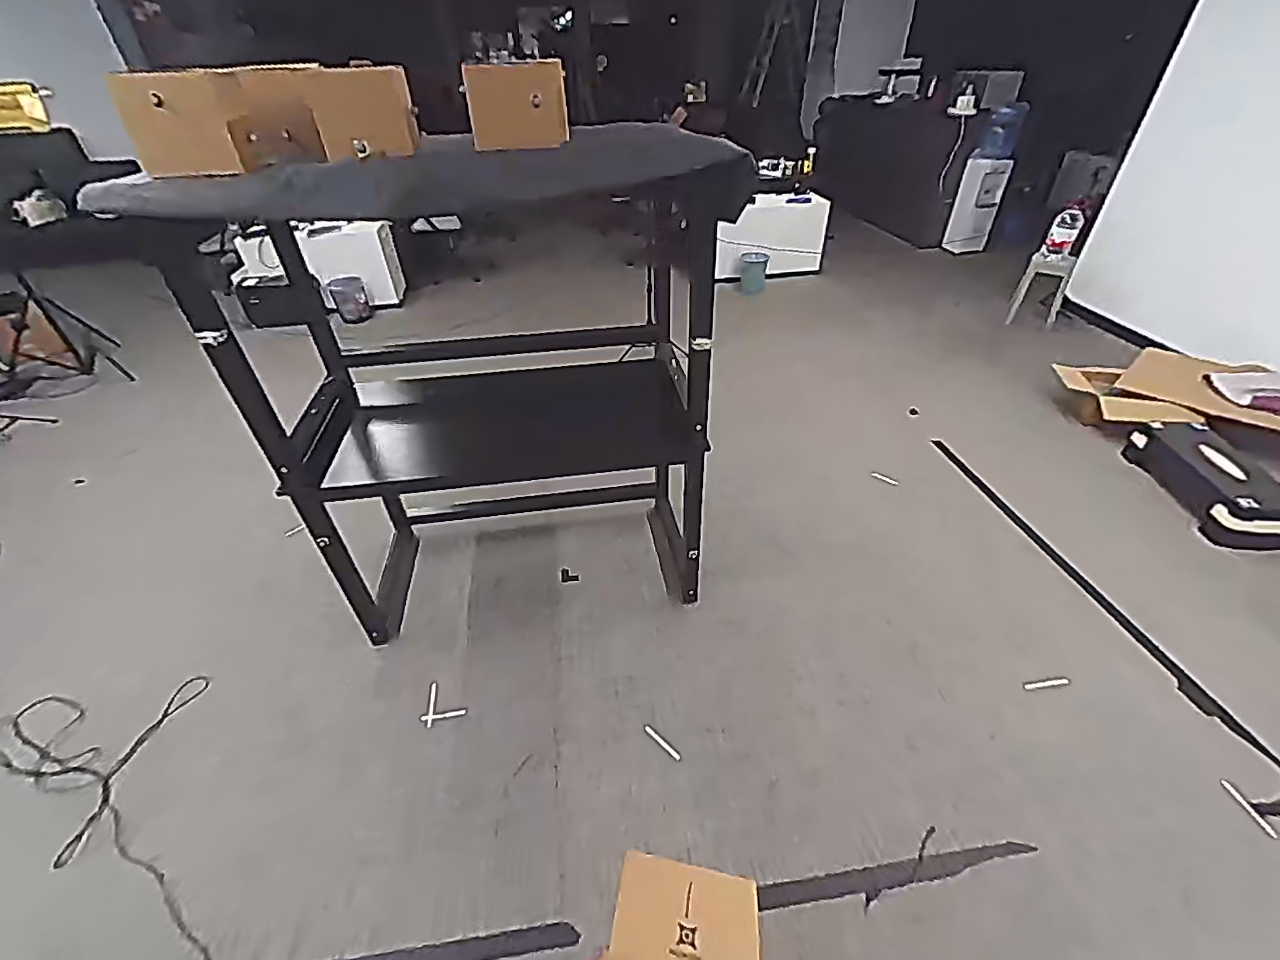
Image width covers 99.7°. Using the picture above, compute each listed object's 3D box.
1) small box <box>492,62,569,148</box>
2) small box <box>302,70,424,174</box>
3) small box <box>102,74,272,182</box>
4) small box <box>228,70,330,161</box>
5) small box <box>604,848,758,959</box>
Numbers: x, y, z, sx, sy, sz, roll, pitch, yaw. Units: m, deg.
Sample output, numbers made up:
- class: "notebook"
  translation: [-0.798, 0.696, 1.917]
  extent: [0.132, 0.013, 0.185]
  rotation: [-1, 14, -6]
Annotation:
- class: "small box"
  translation: [-0.275, -0.957, 1.382]
  extent: [0.168, 0.176, 0.179]
  rotation: [-7, 39, -6]
- class: "small box"
  translation: [-0.556, -0.738, 1.116]
  extent: [0.168, 0.176, 0.179]
  rotation: [-10, 38, -9]
- class: "small box"
  translation: [-0.884, -0.700, 1.078]
  extent: [0.179, 0.176, 0.168]
  rotation: [-8, 38, -9]
- class: "small box"
  translation: [-0.844, -0.885, 1.312]
  extent: [0.179, 0.176, 0.168]
  rotation: [-7, 39, -8]
- class: "small box"
  translation: [0.038, 0.578, 0.619]
  extent: [0.168, 0.176, 0.179]
  rotation: [11, 21, 5]
